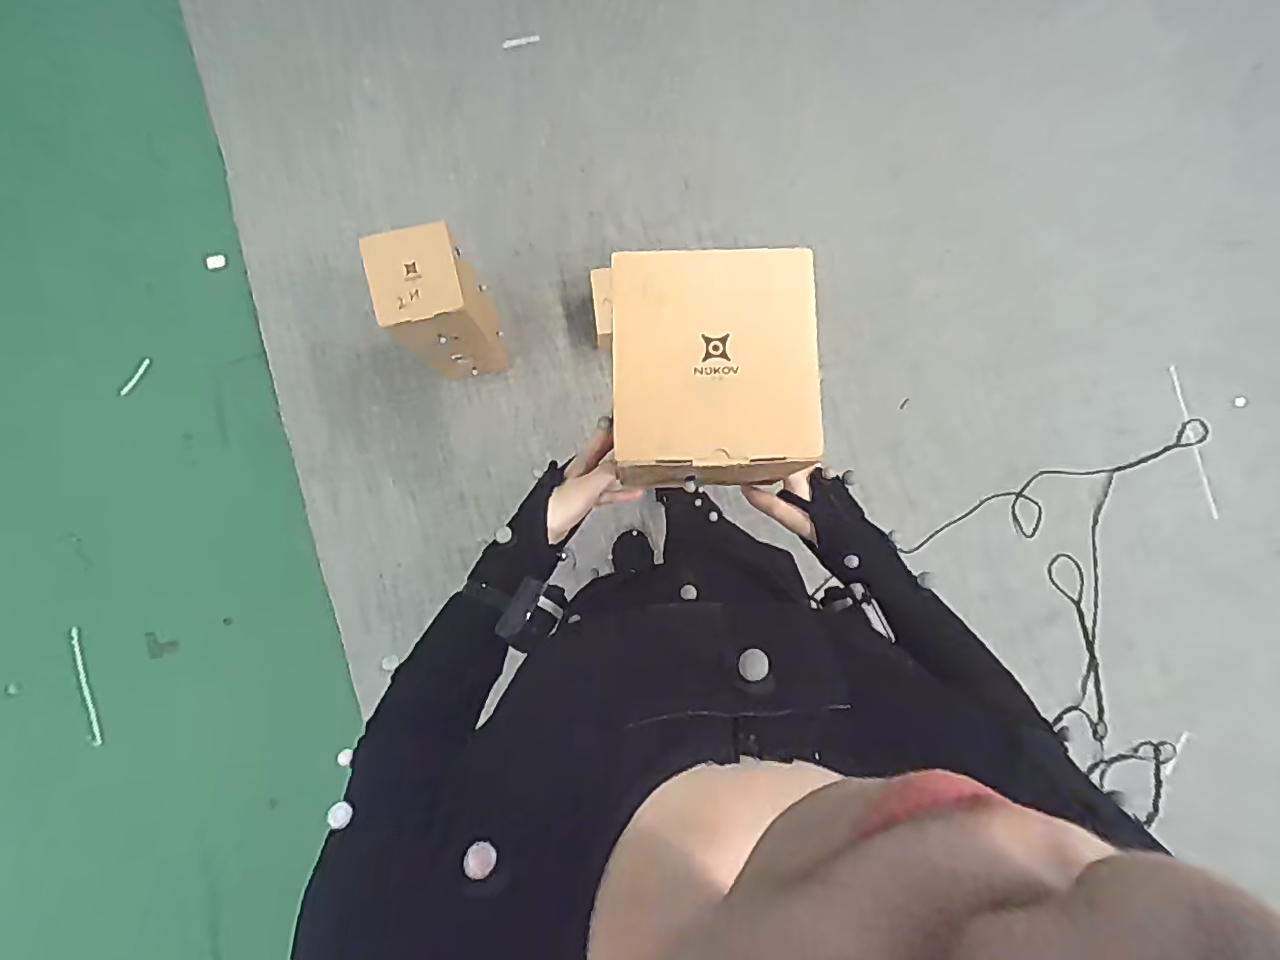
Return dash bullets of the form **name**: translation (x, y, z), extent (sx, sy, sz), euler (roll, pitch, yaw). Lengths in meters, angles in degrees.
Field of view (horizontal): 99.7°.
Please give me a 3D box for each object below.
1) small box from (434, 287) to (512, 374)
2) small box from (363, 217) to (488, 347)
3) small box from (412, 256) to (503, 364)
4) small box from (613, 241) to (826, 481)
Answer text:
- **small box**: translation (-0.440, -0.380, 1.406), extent (0.168, 0.176, 0.179), euler (-10, 90, -3)
- **small box**: translation (-0.418, -0.386, 1.079), extent (0.168, 0.176, 0.179), euler (-13, 89, -1)
- **small box**: translation (-0.429, -0.384, 1.244), extent (0.168, 0.176, 0.179), euler (-13, 90, -2)
- **small box**: translation (0.059, -0.095, 0.501), extent (0.168, 0.176, 0.179), euler (-1, 84, 0)
